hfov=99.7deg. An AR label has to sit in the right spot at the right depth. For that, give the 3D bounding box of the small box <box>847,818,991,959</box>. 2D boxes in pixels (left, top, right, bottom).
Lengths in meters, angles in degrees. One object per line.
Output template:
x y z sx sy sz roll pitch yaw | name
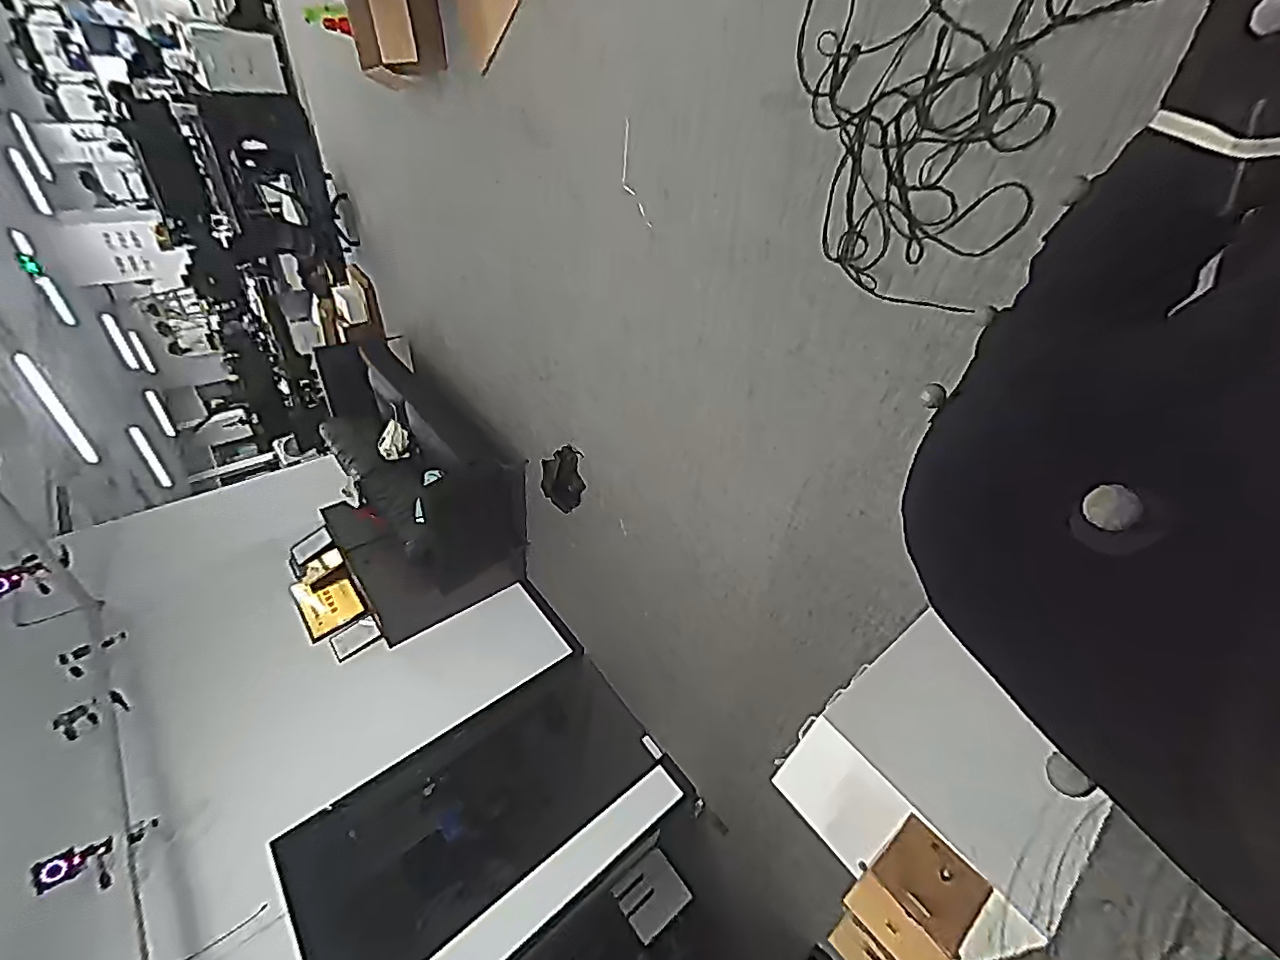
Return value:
0.542 0.814 1.055 0.168 0.176 0.179 38 139 37 | small box
